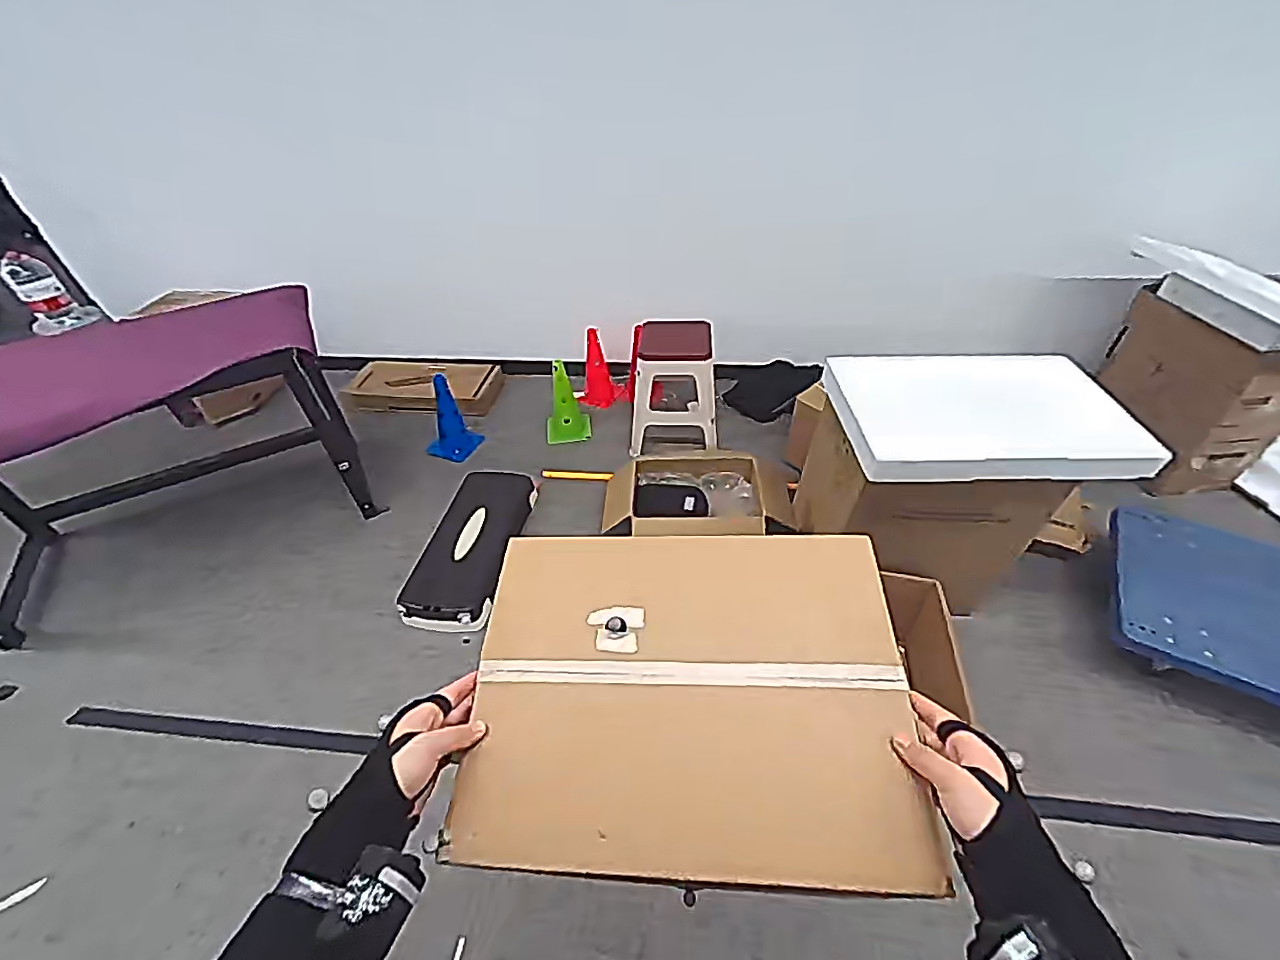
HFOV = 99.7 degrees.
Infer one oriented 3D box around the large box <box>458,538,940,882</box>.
[{"bbox_3d":[0.062,0.286,0.648,0.408,0.320,0.320,-2,51,7],"label":"large box"}]
